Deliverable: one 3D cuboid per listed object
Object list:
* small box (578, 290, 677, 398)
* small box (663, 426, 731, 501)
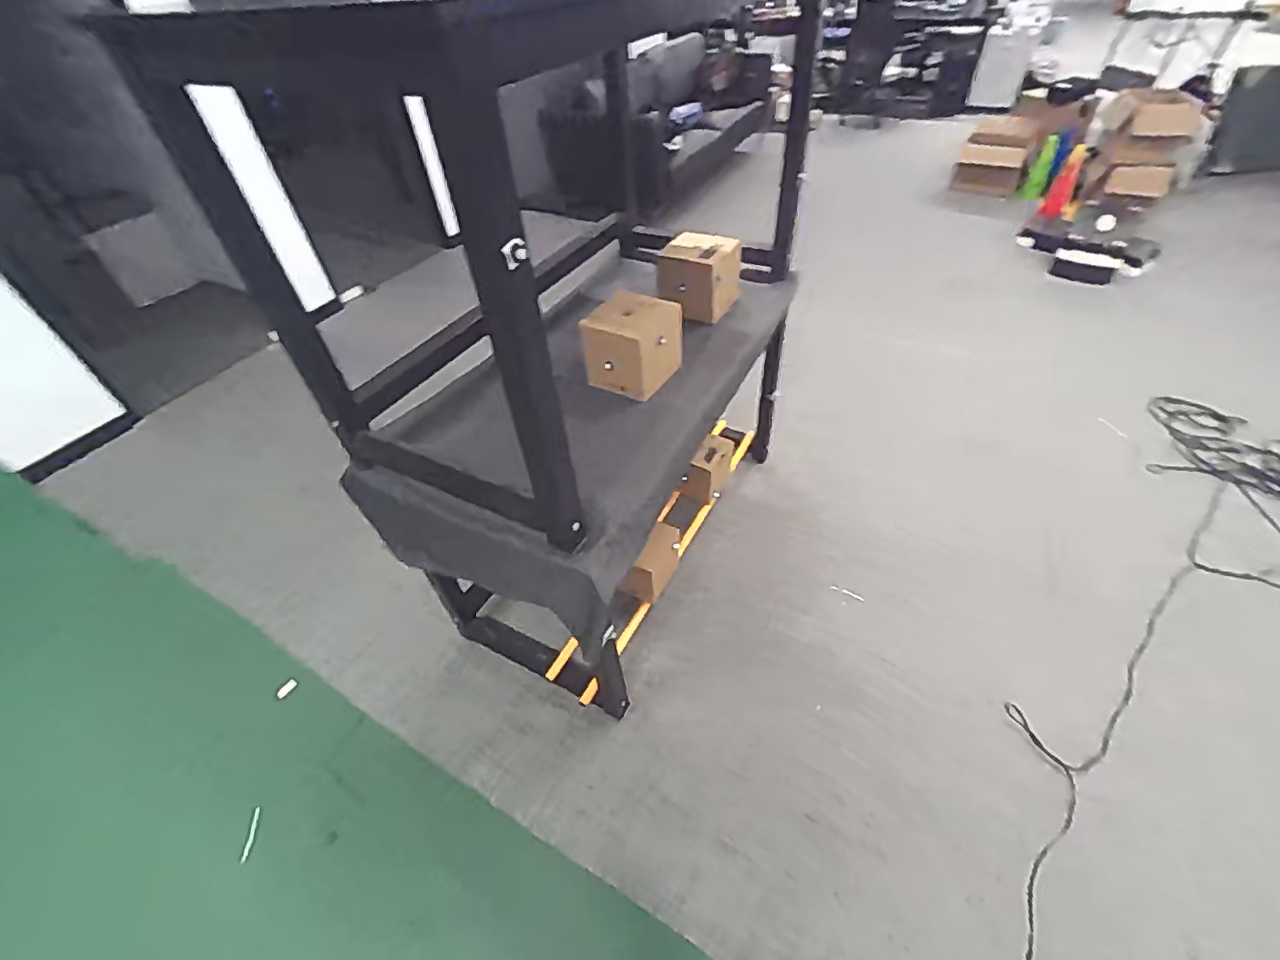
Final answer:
[{"bbox_3d":[-0.020,-0.318,1.271,0.168,0.176,0.179,22,51,24],"label":"small box"},{"bbox_3d":[0.197,-0.052,1.866,0.179,0.176,0.168,22,51,24],"label":"small box"}]
